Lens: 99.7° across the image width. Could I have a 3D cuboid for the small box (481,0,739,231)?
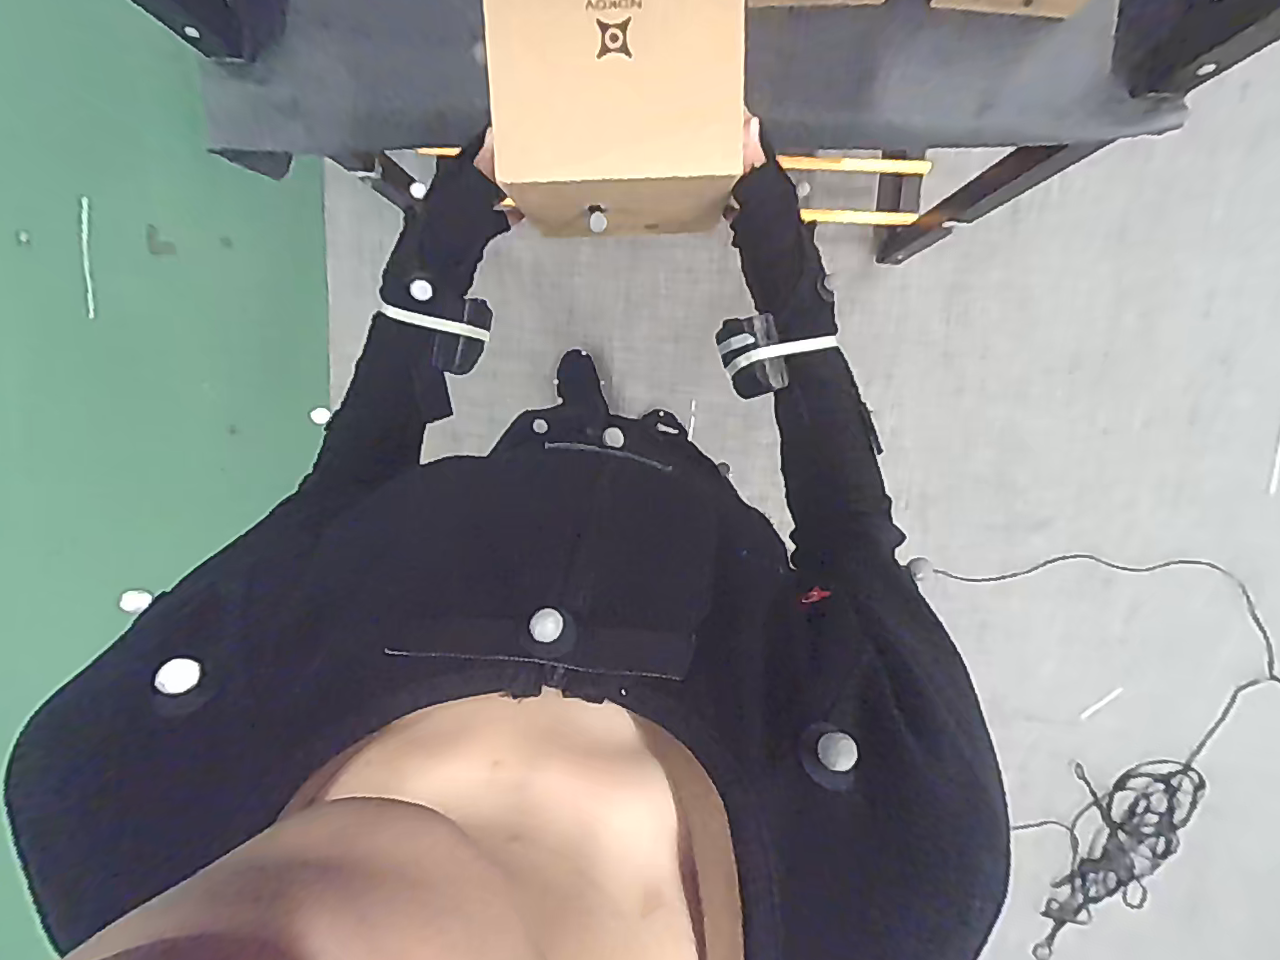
[{"bbox_3d":[-0.017,-0.302,0.421,0.168,0.176,0.179,-1,102,1],"label":"small box"}]
